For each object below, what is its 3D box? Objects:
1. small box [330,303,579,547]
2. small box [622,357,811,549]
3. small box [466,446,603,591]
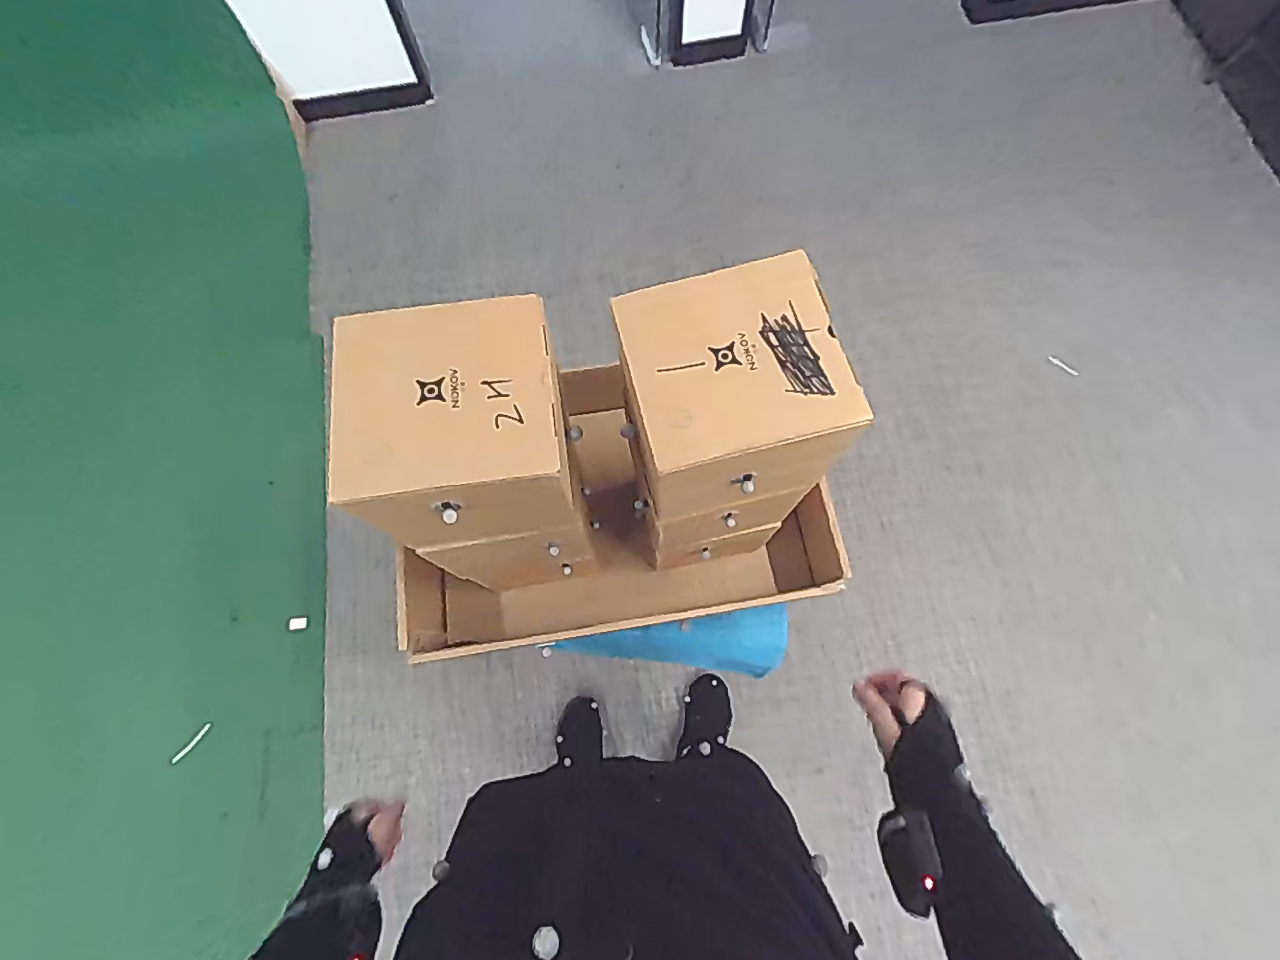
[{"bbox_3d":[-0.160,-0.040,0.513,0.179,0.176,0.168,-8,72,-3],"label":"small box"},{"bbox_3d":[0.086,-0.023,0.672,0.179,0.176,0.168,-14,72,-2],"label":"small box"},{"bbox_3d":[-0.158,0.067,0.825,0.179,0.176,0.168,-10,72,-4],"label":"small box"}]
